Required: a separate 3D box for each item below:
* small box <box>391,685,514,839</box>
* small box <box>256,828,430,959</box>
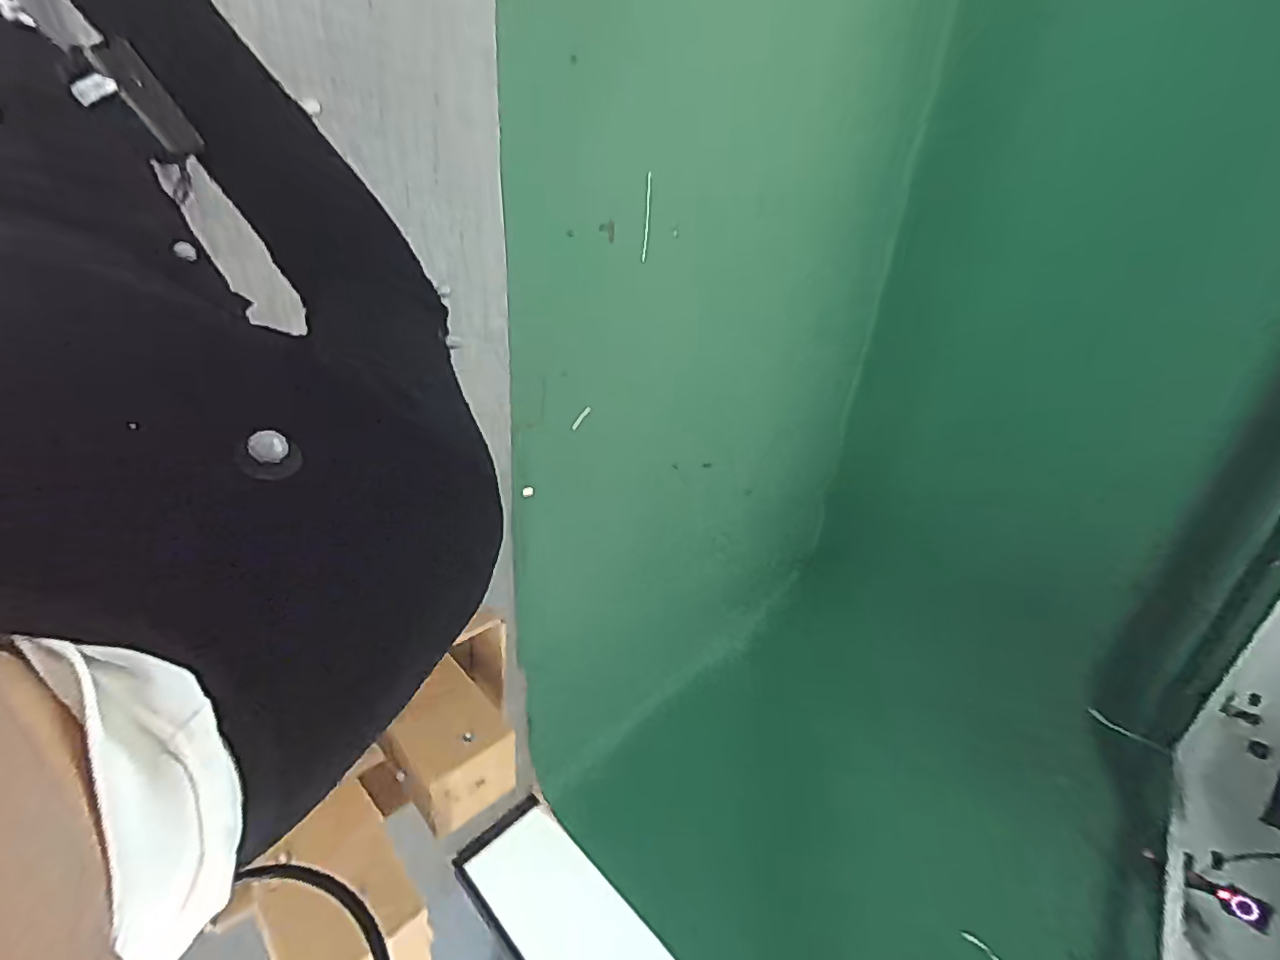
[{"bbox_3d":[-0.372,0.549,1.081,0.179,0.176,0.168,-19,125,-41],"label":"small box"},{"bbox_3d":[-0.439,0.679,0.810,0.179,0.176,0.168,-19,125,-44],"label":"small box"}]
